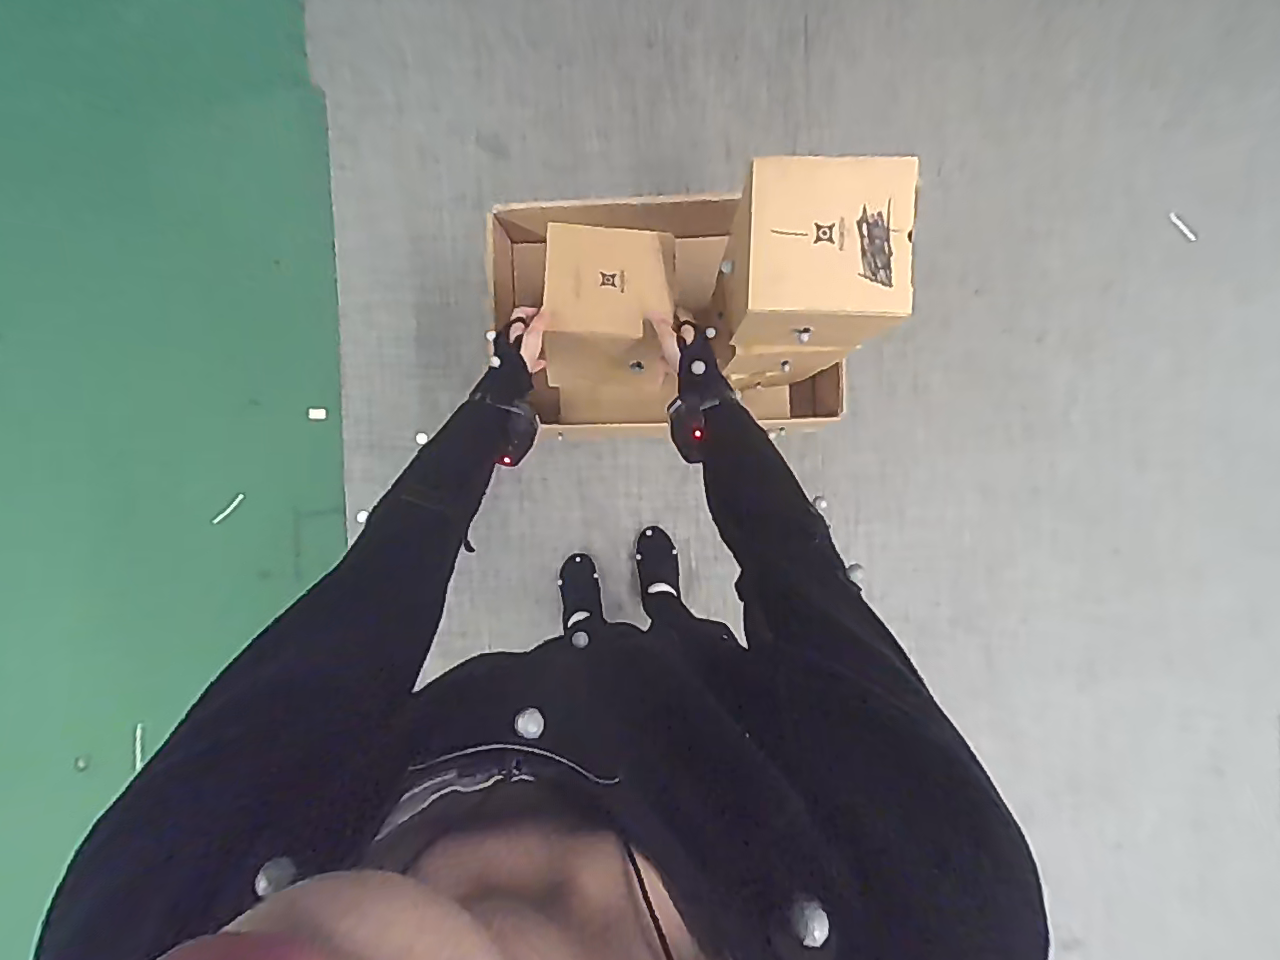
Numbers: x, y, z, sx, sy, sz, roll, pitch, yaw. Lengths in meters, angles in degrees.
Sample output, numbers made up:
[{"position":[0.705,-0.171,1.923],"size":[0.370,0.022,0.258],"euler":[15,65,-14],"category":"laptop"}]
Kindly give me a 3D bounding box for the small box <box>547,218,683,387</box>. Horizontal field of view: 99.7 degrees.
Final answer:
[{"position":[-0.041,-0.245,0.782],"size":[0.179,0.176,0.168],"euler":[1,75,-6],"category":"small box"}]

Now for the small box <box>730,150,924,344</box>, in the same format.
[{"position":[0.209,-0.264,0.647],"size":[0.179,0.176,0.168],"euler":[2,92,3],"category":"small box"}]
